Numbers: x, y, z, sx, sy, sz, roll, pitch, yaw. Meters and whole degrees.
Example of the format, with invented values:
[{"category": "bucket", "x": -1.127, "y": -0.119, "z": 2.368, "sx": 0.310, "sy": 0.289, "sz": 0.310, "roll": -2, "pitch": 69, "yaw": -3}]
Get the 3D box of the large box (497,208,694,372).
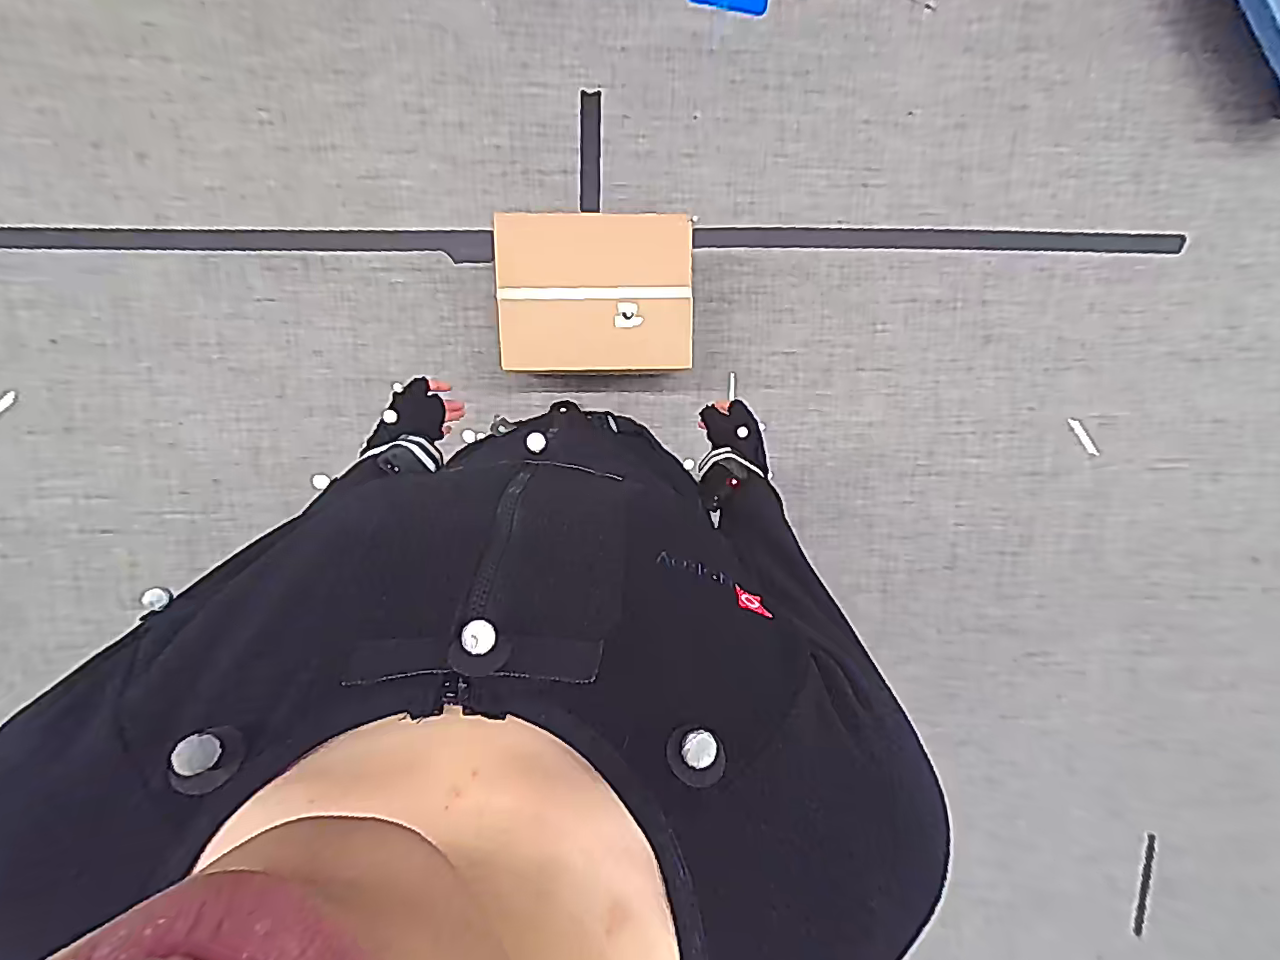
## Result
[{"category": "large box", "x": -0.098, "y": -0.423, "z": 1.269, "sx": 0.408, "sy": 0.320, "sz": 0.320, "roll": -2, "pitch": 100, "yaw": -4}]
